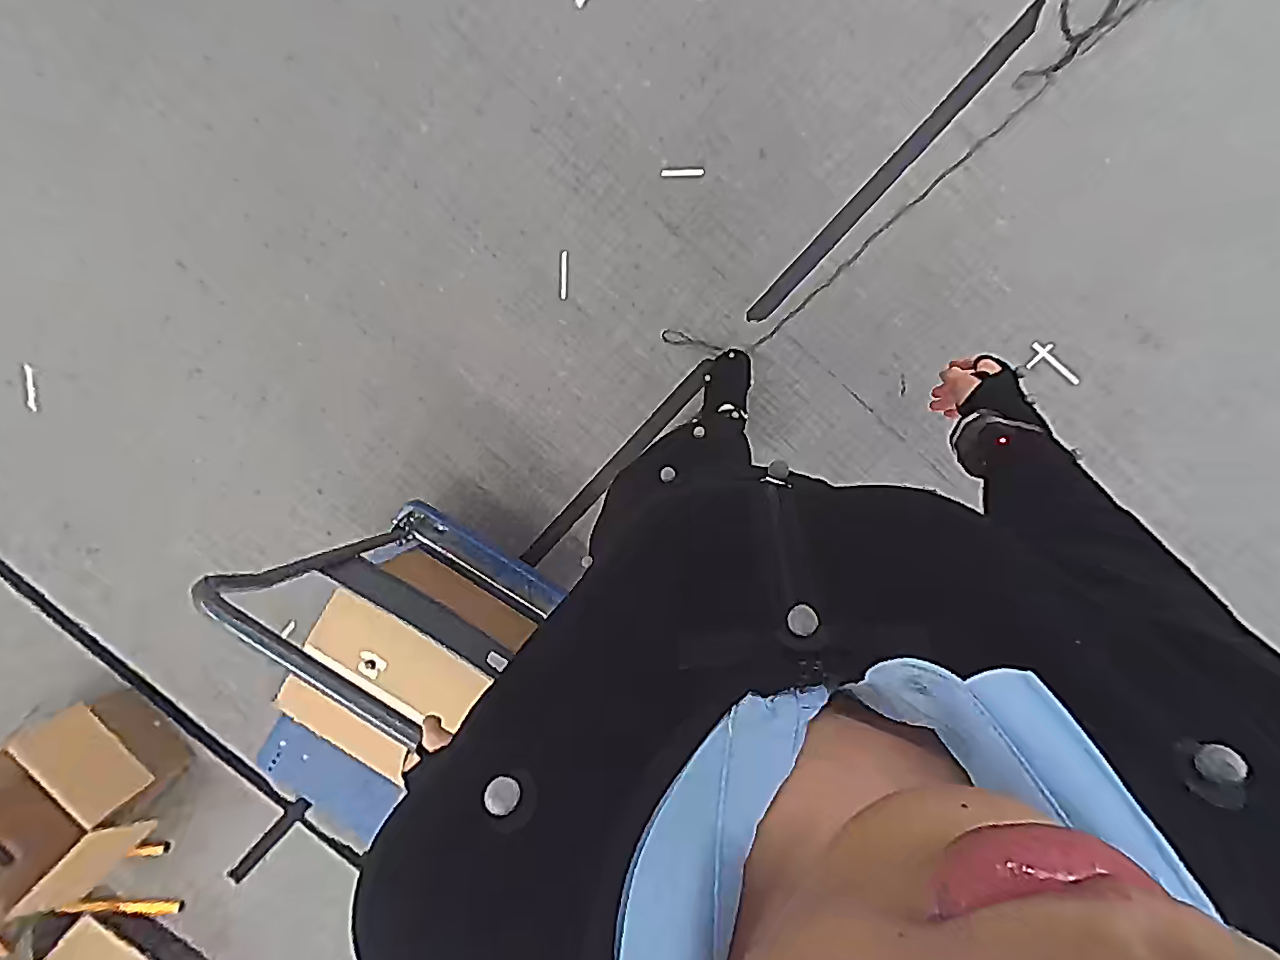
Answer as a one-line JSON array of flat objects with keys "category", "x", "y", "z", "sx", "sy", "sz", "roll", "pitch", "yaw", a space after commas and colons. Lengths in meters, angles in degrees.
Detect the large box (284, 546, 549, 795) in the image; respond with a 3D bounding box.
[{"category": "large box", "x": -0.482, "y": 0.410, "z": 1.247, "sx": 0.408, "sy": 0.320, "sz": 0.320, "roll": 33, "pitch": 97, "yaw": 0}]
